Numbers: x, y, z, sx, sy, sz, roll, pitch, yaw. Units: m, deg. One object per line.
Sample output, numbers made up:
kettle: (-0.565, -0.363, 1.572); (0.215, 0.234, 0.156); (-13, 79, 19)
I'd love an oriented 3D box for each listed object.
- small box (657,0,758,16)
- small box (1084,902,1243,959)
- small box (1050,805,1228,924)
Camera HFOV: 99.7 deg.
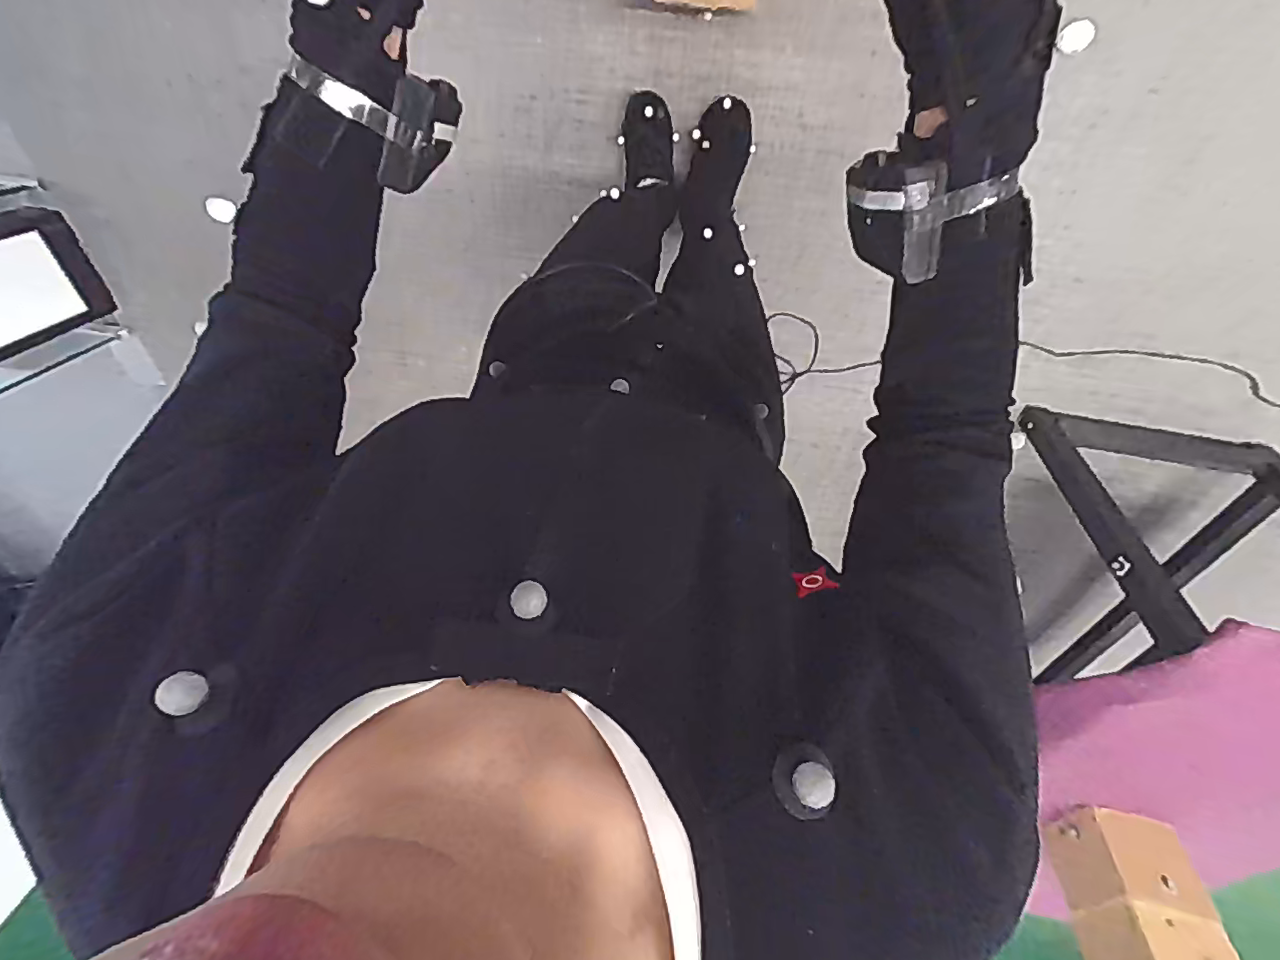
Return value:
small box: (0.124, -0.873, 0.870); (0.168, 0.176, 0.179); (10, 131, 5)
small box: (0.976, 0.904, 0.992); (0.168, 0.176, 0.179); (12, 131, 3)
small box: (1.003, 0.797, 1.109); (0.179, 0.176, 0.168); (14, 130, 2)
